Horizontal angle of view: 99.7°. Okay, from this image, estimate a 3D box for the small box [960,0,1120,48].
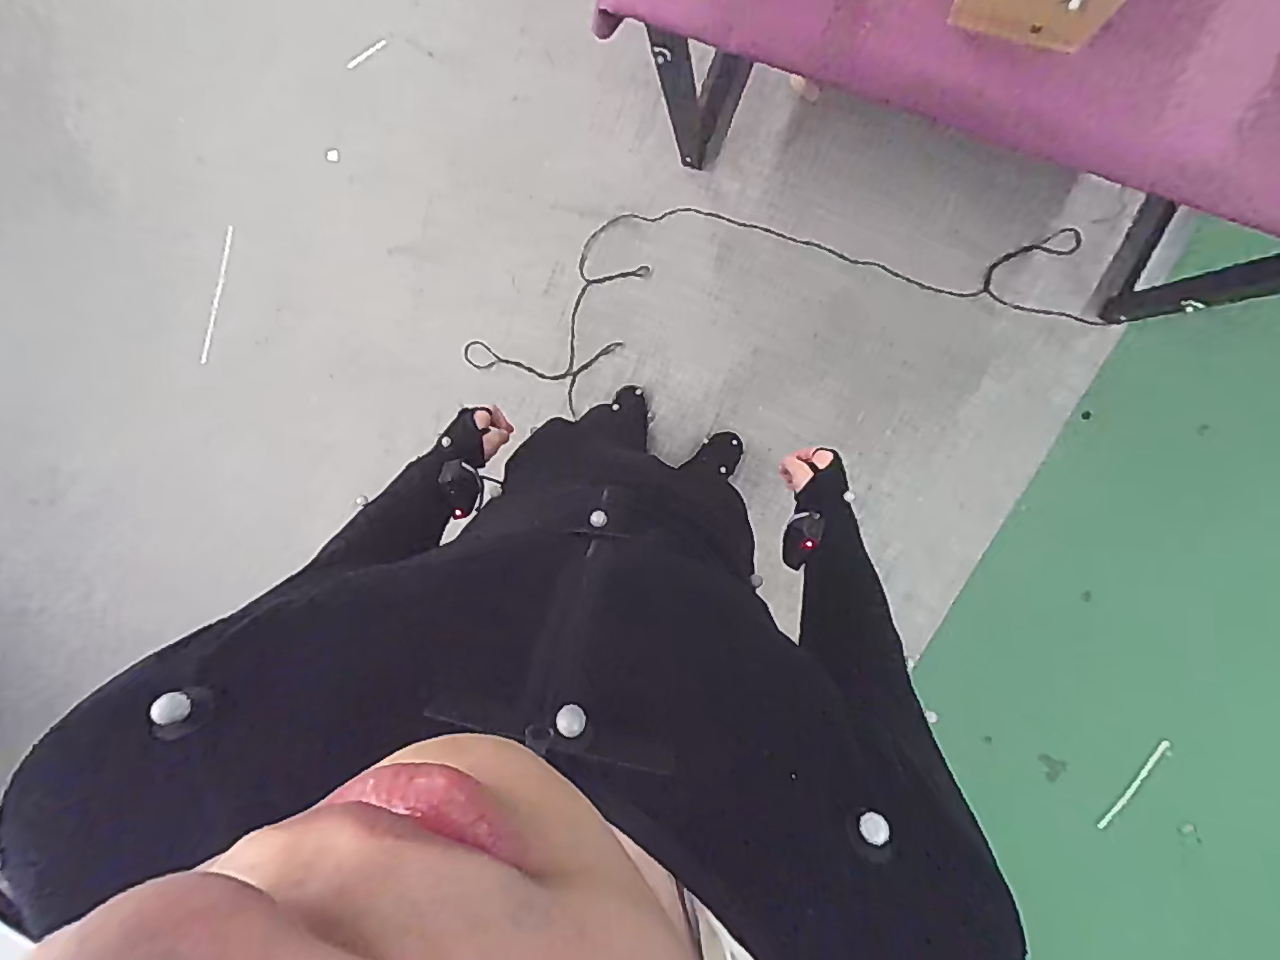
[{"bbox_3d":[0.490,-0.635,0.599,0.168,0.176,0.179,21,101,7],"label":"small box"}]
